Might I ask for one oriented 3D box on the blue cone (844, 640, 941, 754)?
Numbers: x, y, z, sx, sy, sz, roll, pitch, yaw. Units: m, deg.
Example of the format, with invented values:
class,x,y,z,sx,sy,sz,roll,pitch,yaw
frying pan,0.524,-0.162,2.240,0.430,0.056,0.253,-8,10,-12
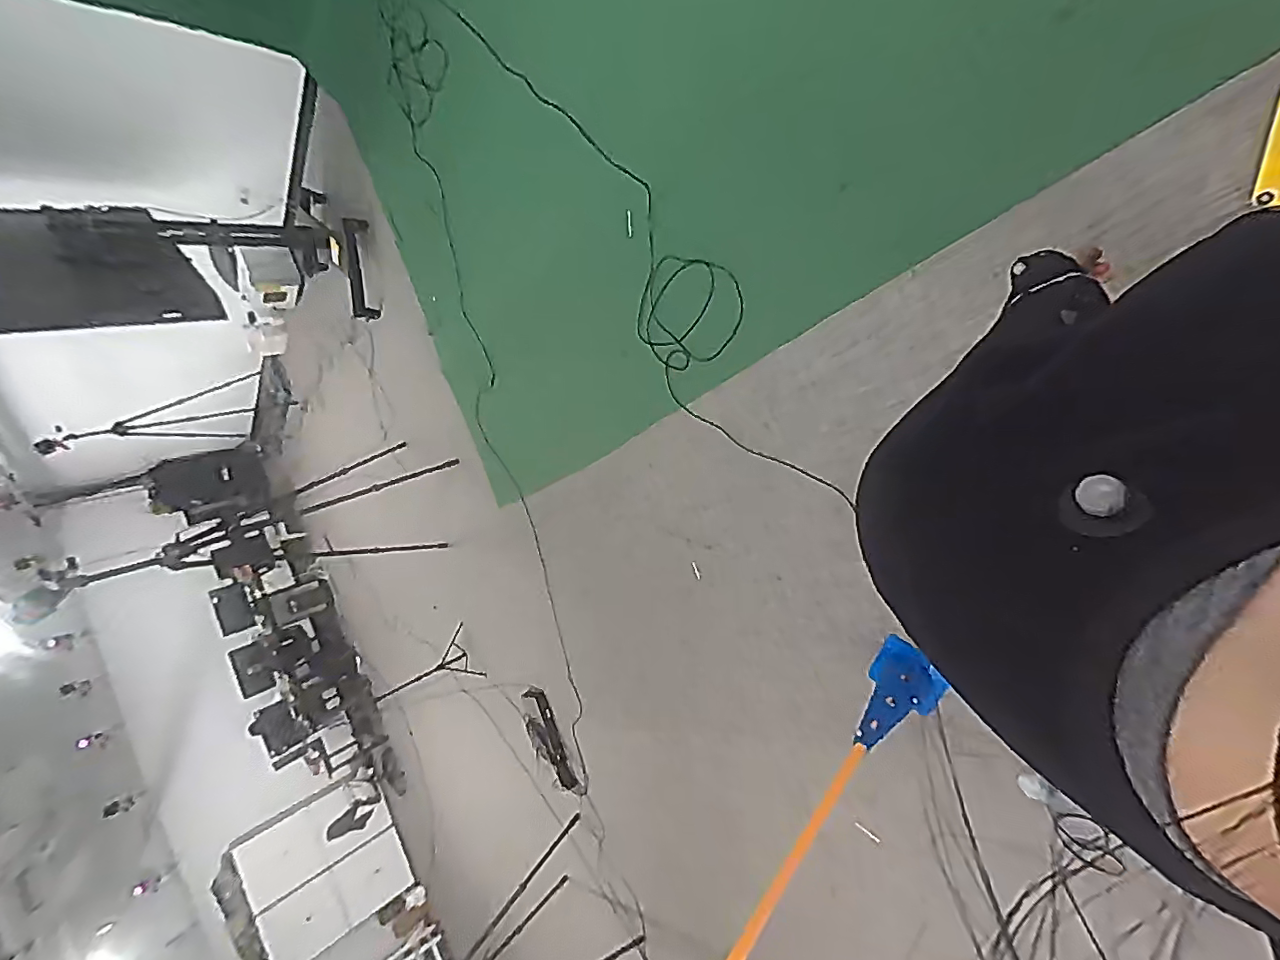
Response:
class,x,y,z,sx,sy,sz,roll,pitch,yaw
blue cone,0.686,0.650,1.535,0.192,0.380,0.193,31,128,33
